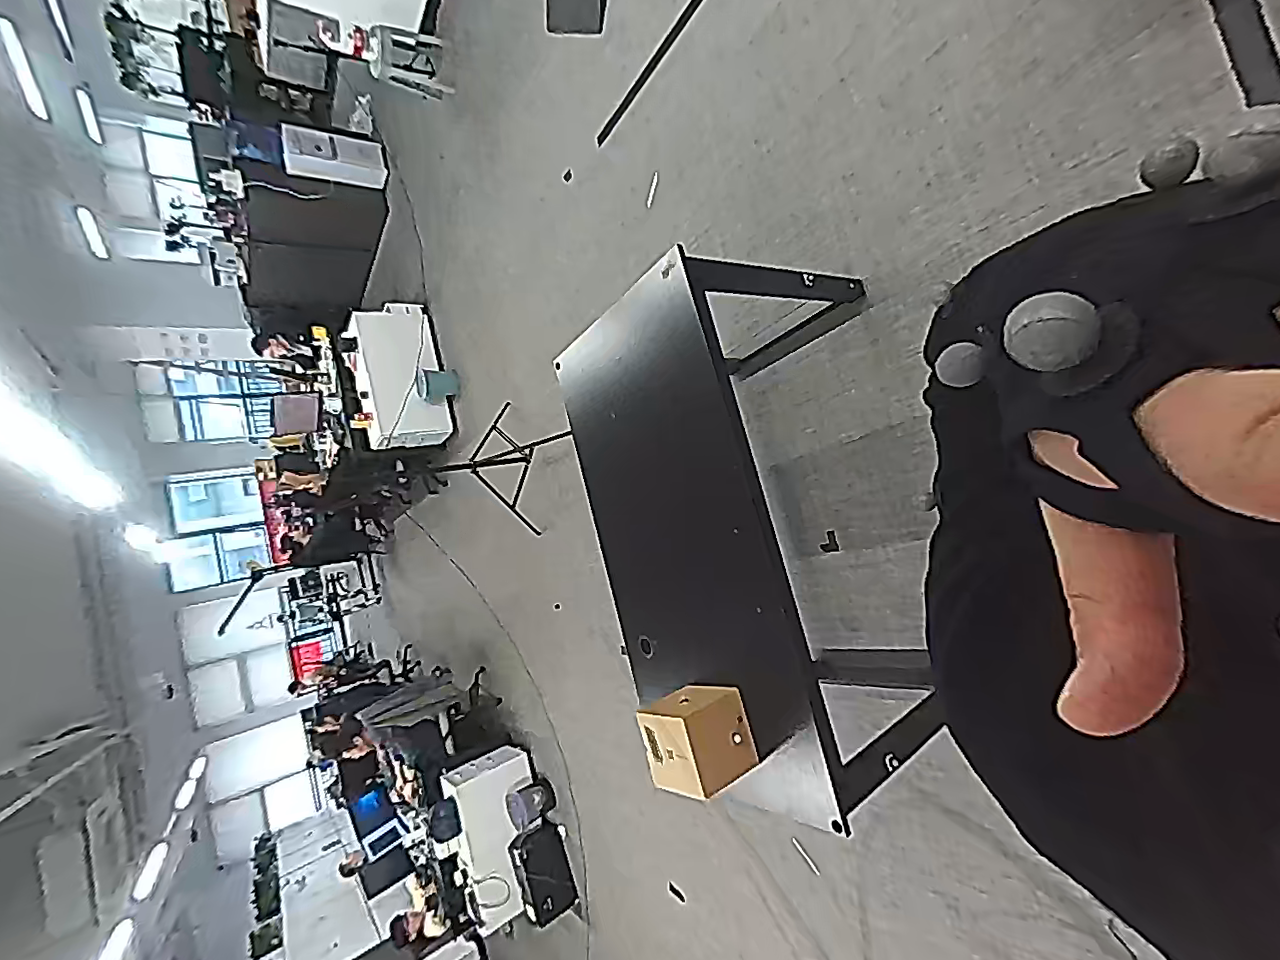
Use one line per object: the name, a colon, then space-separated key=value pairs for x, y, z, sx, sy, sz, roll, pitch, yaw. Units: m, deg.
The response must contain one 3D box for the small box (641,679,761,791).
small box: x=0.134 y=0.552 z=1.198 sx=0.179 sy=0.176 sz=0.168 roll=-26 pitch=78 yaw=52
